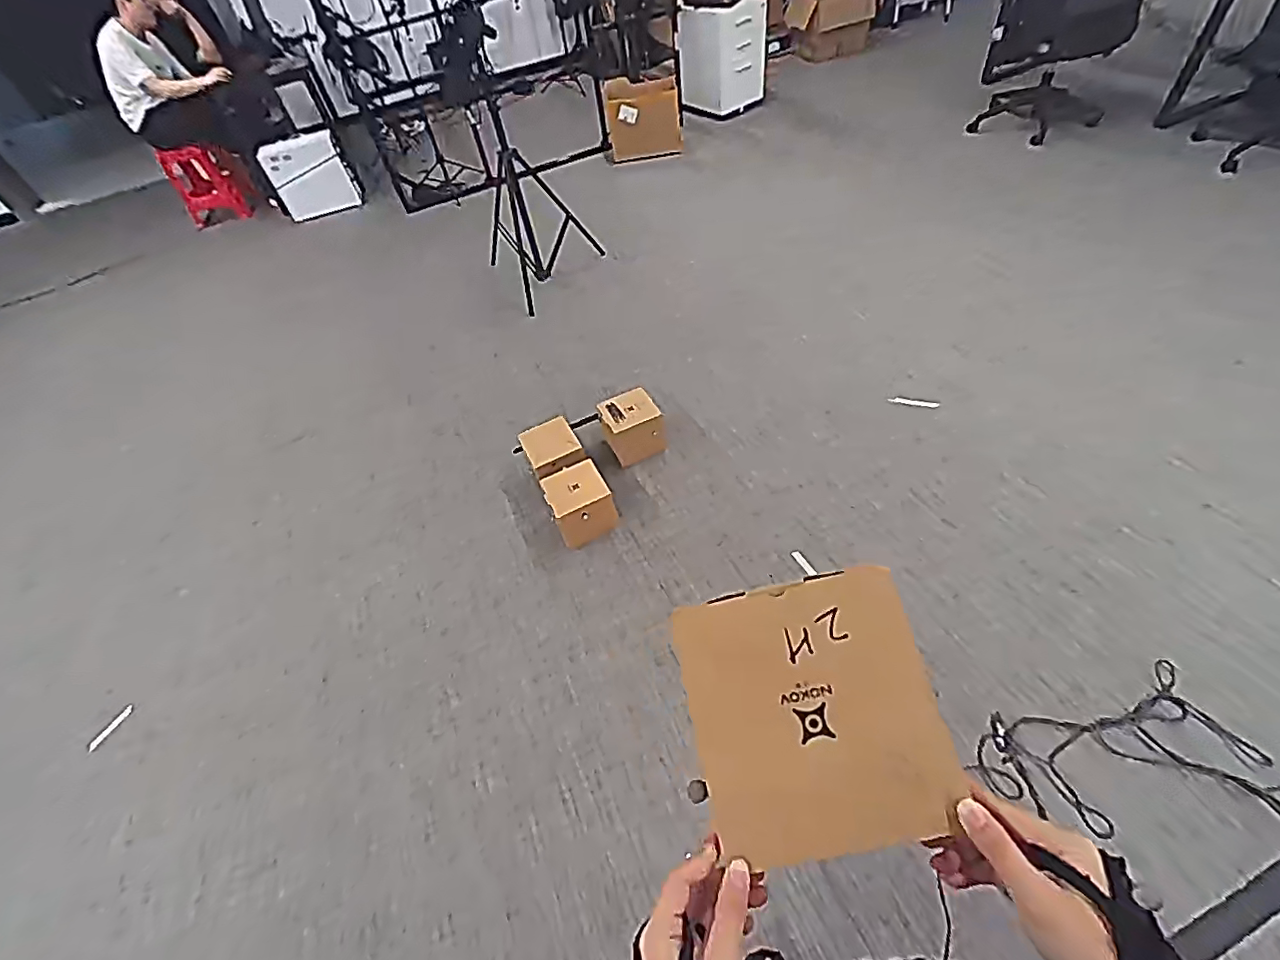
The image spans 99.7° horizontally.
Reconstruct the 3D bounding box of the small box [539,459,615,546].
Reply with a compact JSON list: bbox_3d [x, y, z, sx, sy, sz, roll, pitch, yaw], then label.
[{"bbox_3d":[-0.189,0.073,1.672,0.179,0.176,0.168,-25,51,-11],"label":"small box"}]

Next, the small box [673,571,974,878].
[{"bbox_3d":[0.131,0.188,0.451,0.168,0.176,0.179,-13,70,4],"label":"small box"}]
